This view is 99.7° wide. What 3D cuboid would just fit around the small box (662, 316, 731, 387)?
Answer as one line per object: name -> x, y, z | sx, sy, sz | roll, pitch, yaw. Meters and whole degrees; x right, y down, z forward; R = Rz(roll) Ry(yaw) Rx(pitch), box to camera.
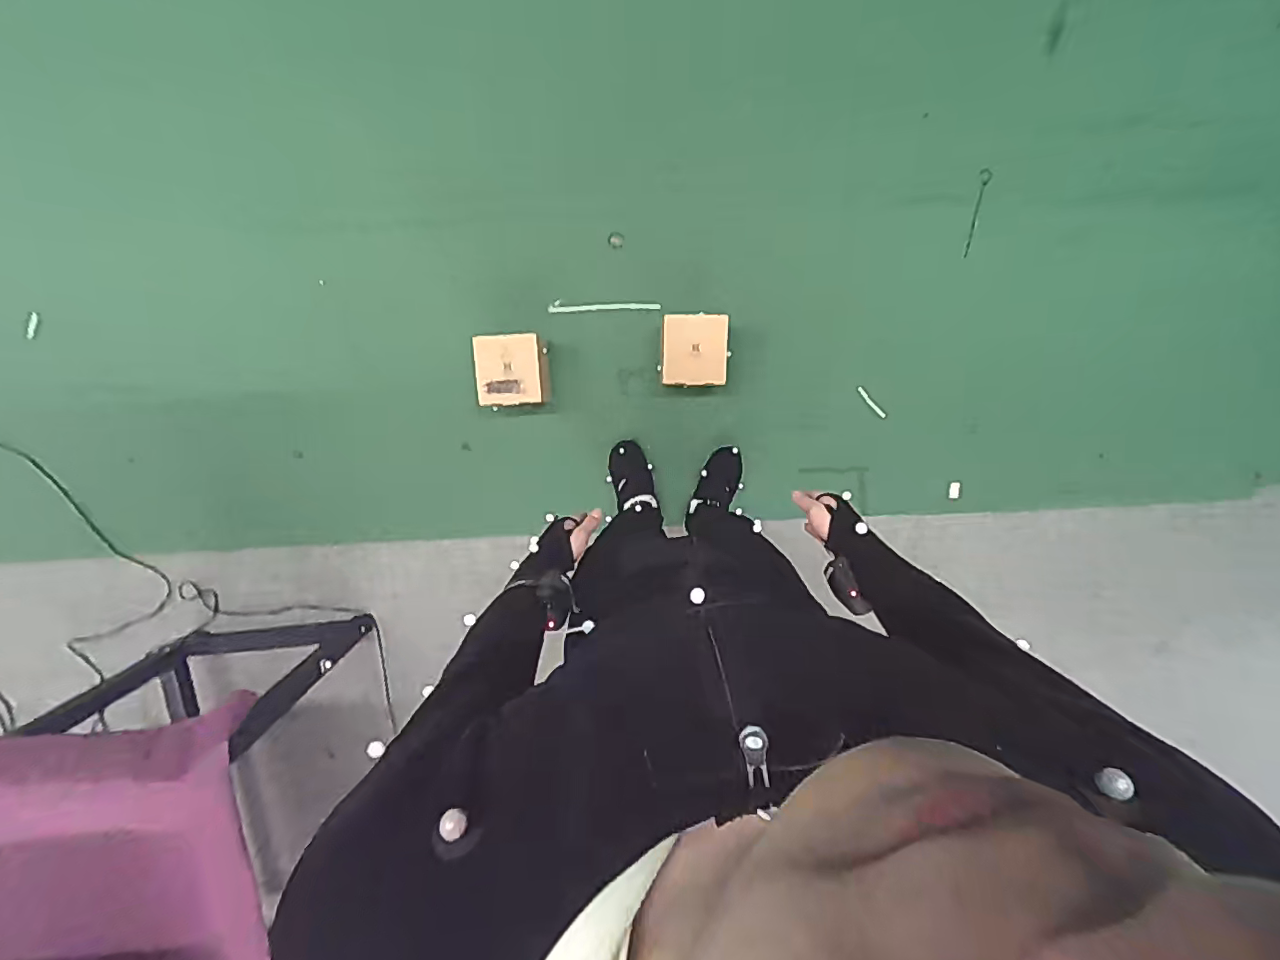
small box -> 0.147, -0.341, 1.460 | 0.168, 0.176, 0.179 | 0, 101, -1
